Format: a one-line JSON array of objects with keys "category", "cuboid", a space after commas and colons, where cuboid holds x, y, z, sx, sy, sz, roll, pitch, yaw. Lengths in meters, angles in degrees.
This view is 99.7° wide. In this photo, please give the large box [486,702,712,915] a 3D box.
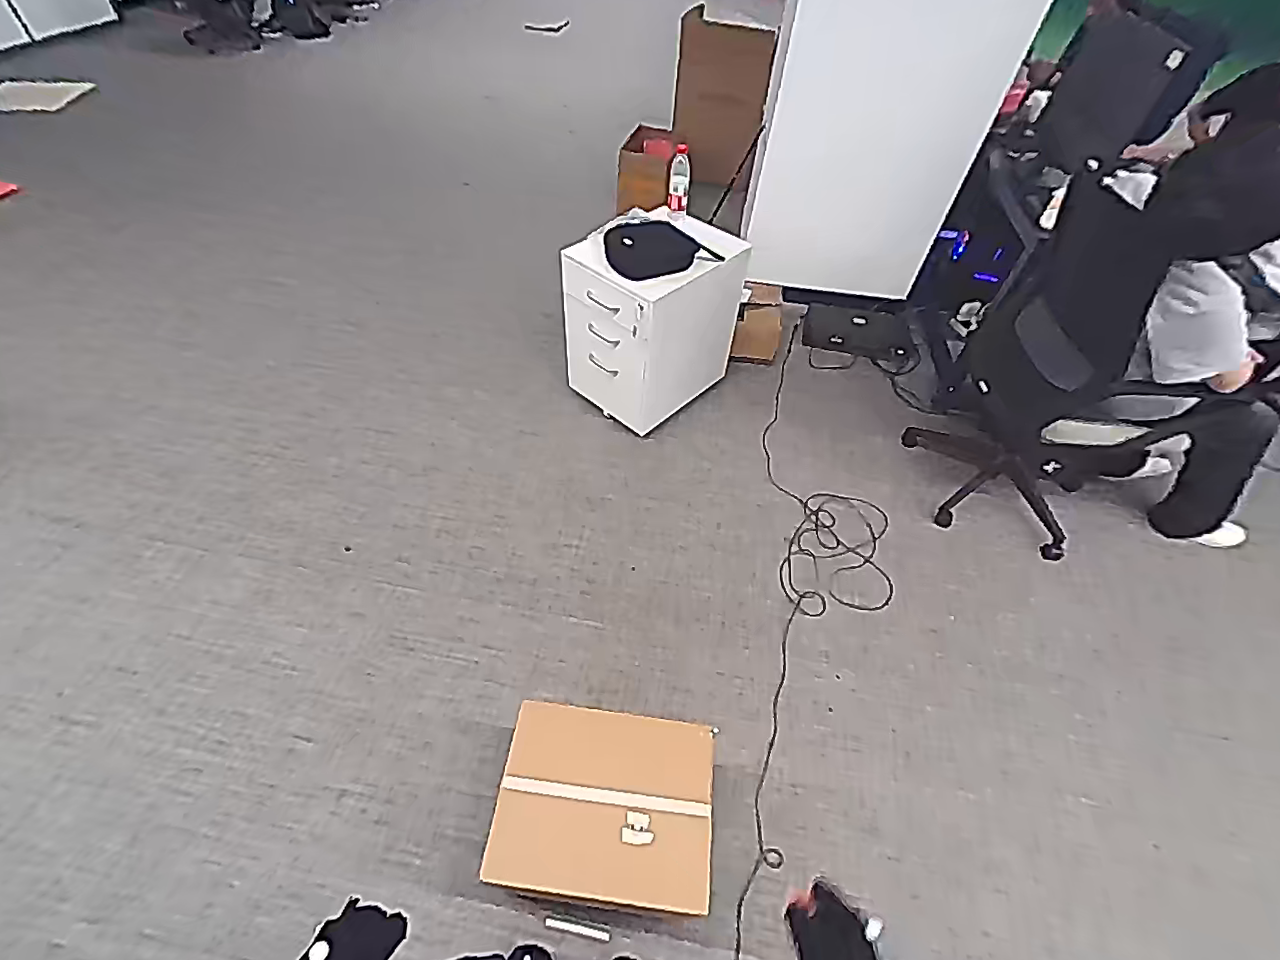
[{"category": "large box", "cuboid": [-0.073, 0.703, 1.152, 0.408, 0.320, 0.320, 8, 50, 1]}]
